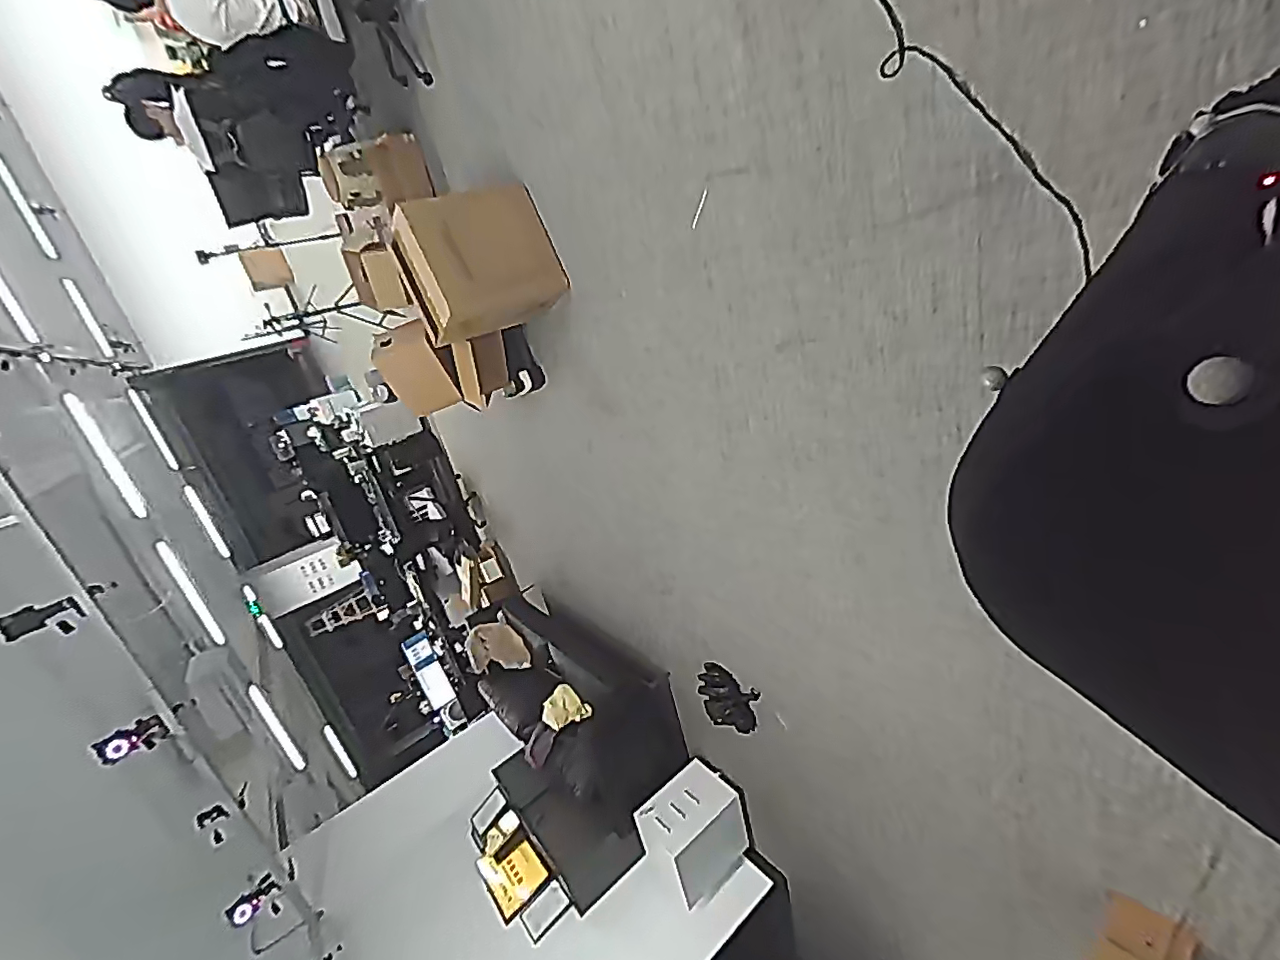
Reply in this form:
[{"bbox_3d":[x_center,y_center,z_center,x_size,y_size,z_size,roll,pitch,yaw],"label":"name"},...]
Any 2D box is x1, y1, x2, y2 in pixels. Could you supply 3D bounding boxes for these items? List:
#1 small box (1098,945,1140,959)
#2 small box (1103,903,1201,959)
[{"bbox_3d":[1.349,1.435,1.478,0.179,0.176,0.168,16,126,52],"label":"small box"},{"bbox_3d":[1.477,1.381,1.564,0.179,0.176,0.168,12,123,51],"label":"small box"}]
